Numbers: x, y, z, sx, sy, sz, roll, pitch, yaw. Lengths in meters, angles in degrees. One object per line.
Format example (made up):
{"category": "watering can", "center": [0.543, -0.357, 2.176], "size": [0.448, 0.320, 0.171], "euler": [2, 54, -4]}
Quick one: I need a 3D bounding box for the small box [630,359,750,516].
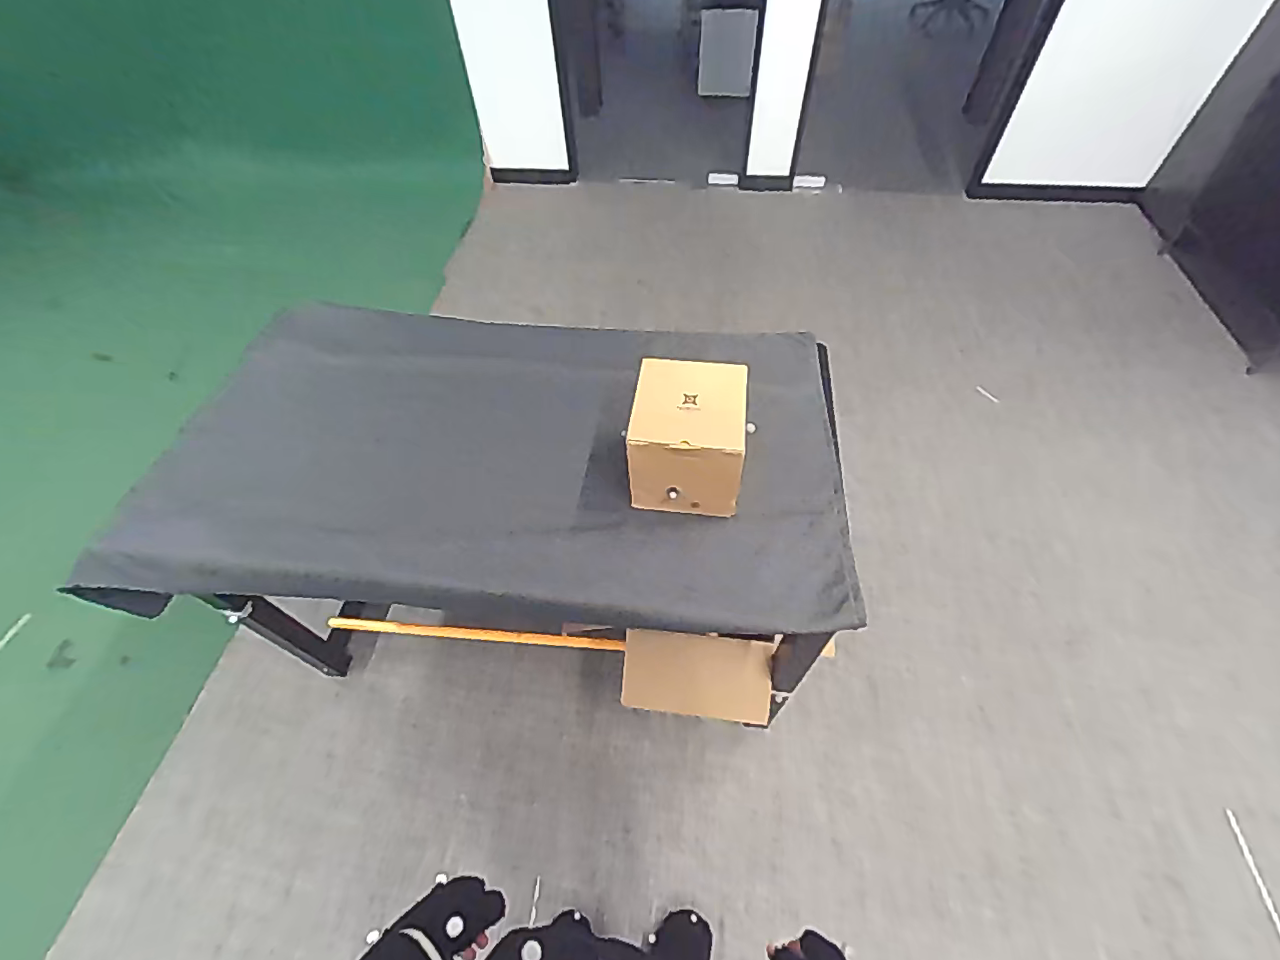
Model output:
{"category": "small box", "center": [0.079, -0.066, 0.857], "size": [0.168, 0.176, 0.179], "euler": [5, 54, 6]}
